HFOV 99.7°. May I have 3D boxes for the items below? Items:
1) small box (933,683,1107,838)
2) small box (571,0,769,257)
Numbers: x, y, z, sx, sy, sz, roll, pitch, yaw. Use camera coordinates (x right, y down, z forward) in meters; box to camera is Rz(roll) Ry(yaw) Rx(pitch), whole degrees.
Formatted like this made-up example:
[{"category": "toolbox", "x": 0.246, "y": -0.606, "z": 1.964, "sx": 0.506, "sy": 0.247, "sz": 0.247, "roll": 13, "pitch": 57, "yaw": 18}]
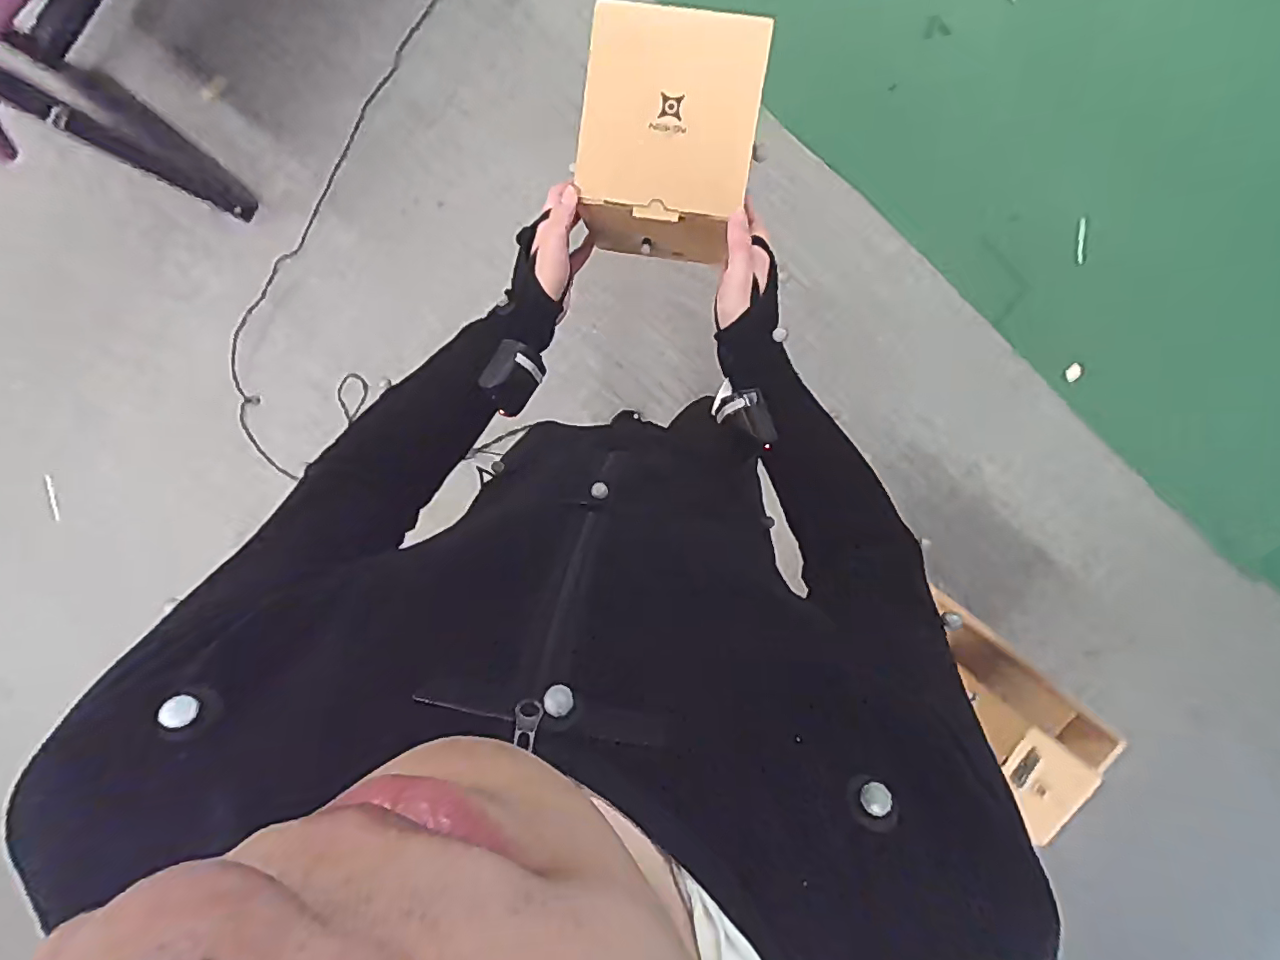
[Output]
[{"category": "small box", "x": 0.710, "y": 0.521, "z": 1.034, "sx": 0.179, "sy": 0.176, "sz": 0.168, "roll": 35, "pitch": 95, "yaw": -8}, {"category": "small box", "x": 0.028, "y": -0.355, "z": 0.575, "sx": 0.168, "sy": 0.176, "sz": 0.179, "roll": 7, "pitch": 100, "yaw": 1}]
